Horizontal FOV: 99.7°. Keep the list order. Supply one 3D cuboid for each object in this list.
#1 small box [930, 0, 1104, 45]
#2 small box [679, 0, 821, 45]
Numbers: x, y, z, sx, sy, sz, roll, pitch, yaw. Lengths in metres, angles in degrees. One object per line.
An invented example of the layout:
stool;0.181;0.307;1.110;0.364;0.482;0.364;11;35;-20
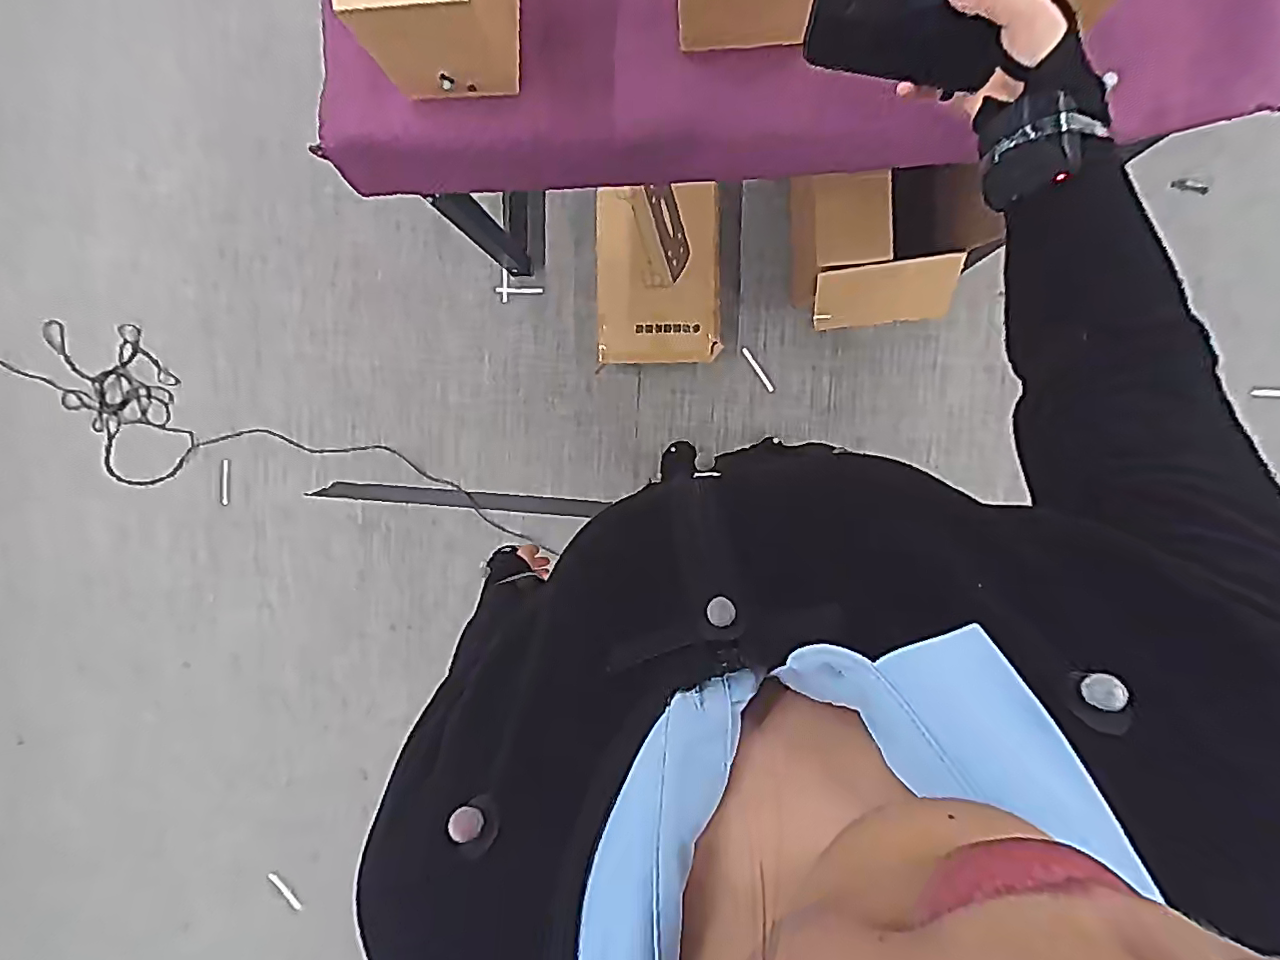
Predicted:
small box;0.449;-0.623;0.594;0.179;0.176;0.168;8;95;6
small box;0.134;-0.652;0.628;0.179;0.176;0.168;1;92;7
